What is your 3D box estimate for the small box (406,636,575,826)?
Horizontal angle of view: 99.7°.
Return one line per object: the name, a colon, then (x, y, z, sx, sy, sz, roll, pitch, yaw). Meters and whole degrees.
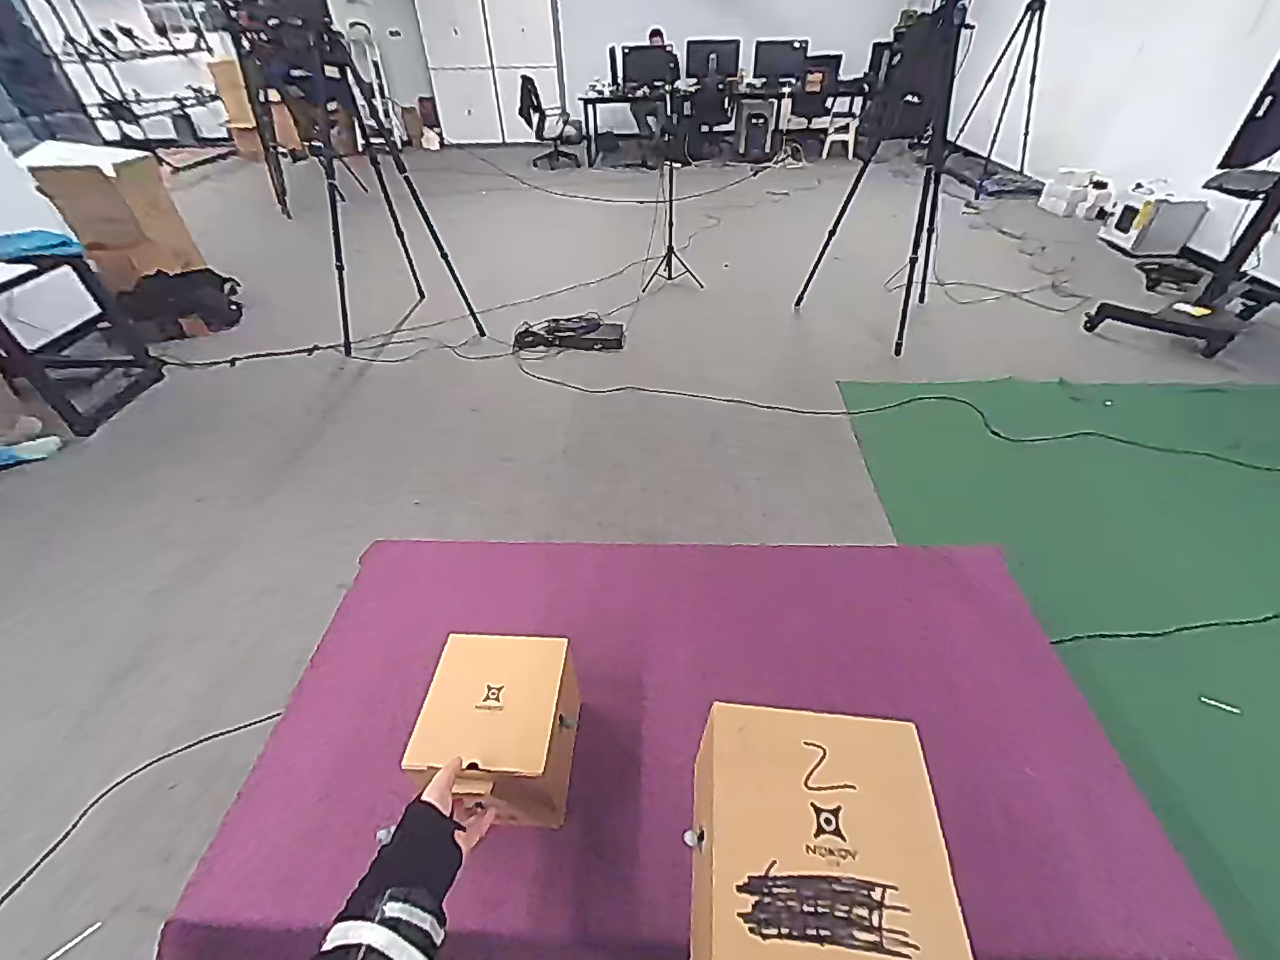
small box: (-0.185, 0.337, 0.732, 0.168, 0.176, 0.179, 2, 41, 4)
